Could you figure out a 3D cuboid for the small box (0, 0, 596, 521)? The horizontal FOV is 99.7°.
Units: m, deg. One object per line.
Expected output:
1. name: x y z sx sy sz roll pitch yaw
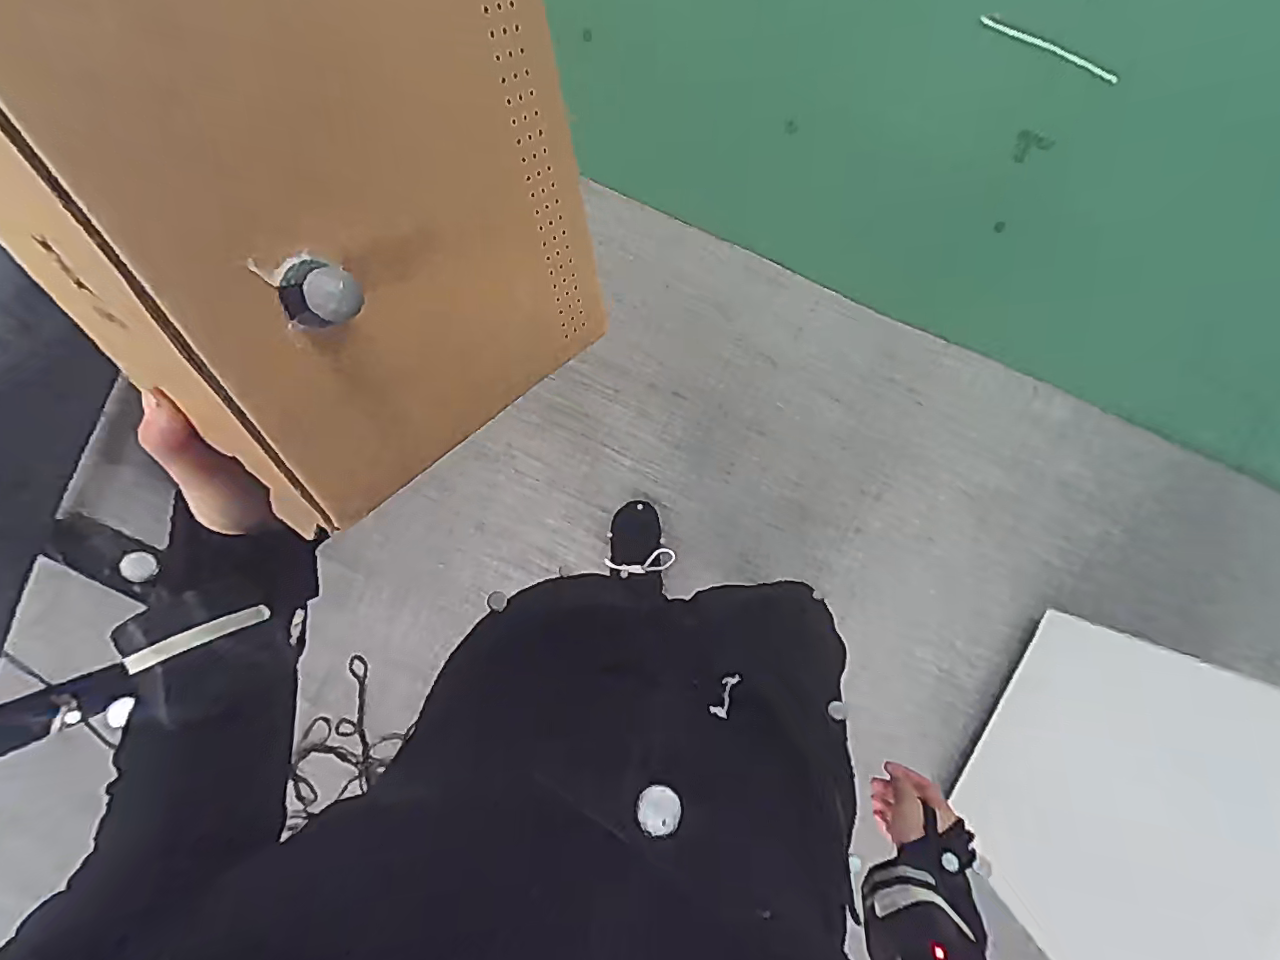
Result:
1. small box: -0.142 -0.120 0.225 0.168 0.179 0.176 20 52 29
